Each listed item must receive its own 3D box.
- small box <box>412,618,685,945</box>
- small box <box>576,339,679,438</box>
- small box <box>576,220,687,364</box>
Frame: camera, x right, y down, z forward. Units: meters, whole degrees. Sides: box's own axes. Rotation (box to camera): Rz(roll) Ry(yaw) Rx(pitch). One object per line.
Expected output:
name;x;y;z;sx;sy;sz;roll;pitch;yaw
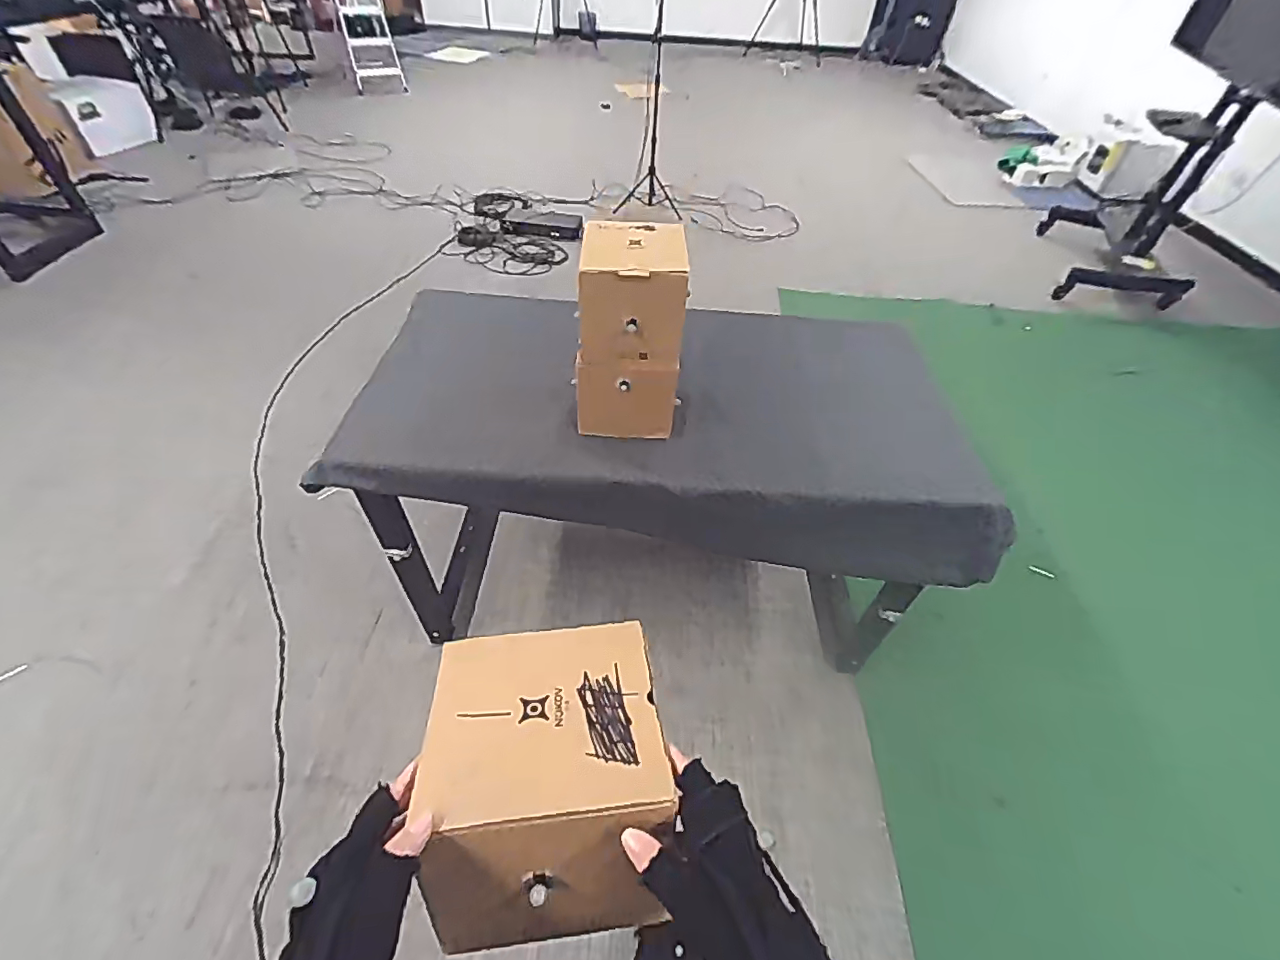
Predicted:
small box;-0.074;0.241;0.451;0.179;0.176;0.168;-3;30;-11
small box;-0.023;-0.194;1.015;0.179;0.176;0.168;4;48;-2
small box;-0.013;-0.309;0.899;0.168;0.176;0.179;2;48;-2
